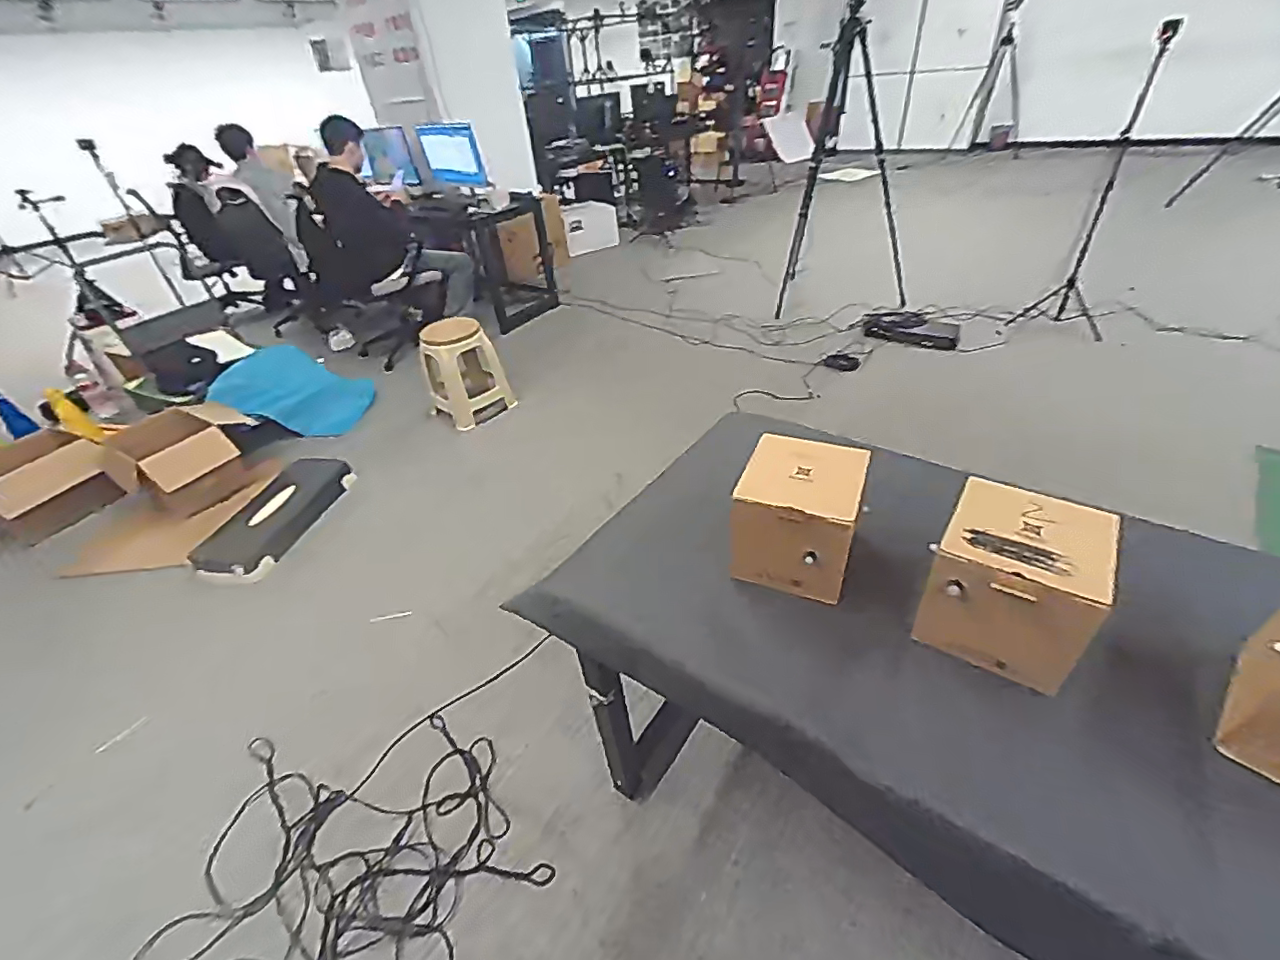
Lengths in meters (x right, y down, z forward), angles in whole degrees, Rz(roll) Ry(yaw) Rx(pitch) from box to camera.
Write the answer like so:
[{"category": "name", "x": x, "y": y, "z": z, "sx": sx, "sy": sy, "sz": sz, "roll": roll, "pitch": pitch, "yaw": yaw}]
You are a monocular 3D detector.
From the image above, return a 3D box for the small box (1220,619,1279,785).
[{"category": "small box", "x": 0.742, "y": 0.227, "z": 0.540, "sx": 0.179, "sy": 0.176, "sz": 0.168, "roll": -33, "pitch": 44, "yaw": -30}]

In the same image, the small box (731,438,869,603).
[{"category": "small box", "x": 0.244, "y": 0.060, "z": 0.836, "sx": 0.168, "sy": 0.176, "sz": 0.179, "roll": 13, "pitch": 40, "yaw": 22}]
